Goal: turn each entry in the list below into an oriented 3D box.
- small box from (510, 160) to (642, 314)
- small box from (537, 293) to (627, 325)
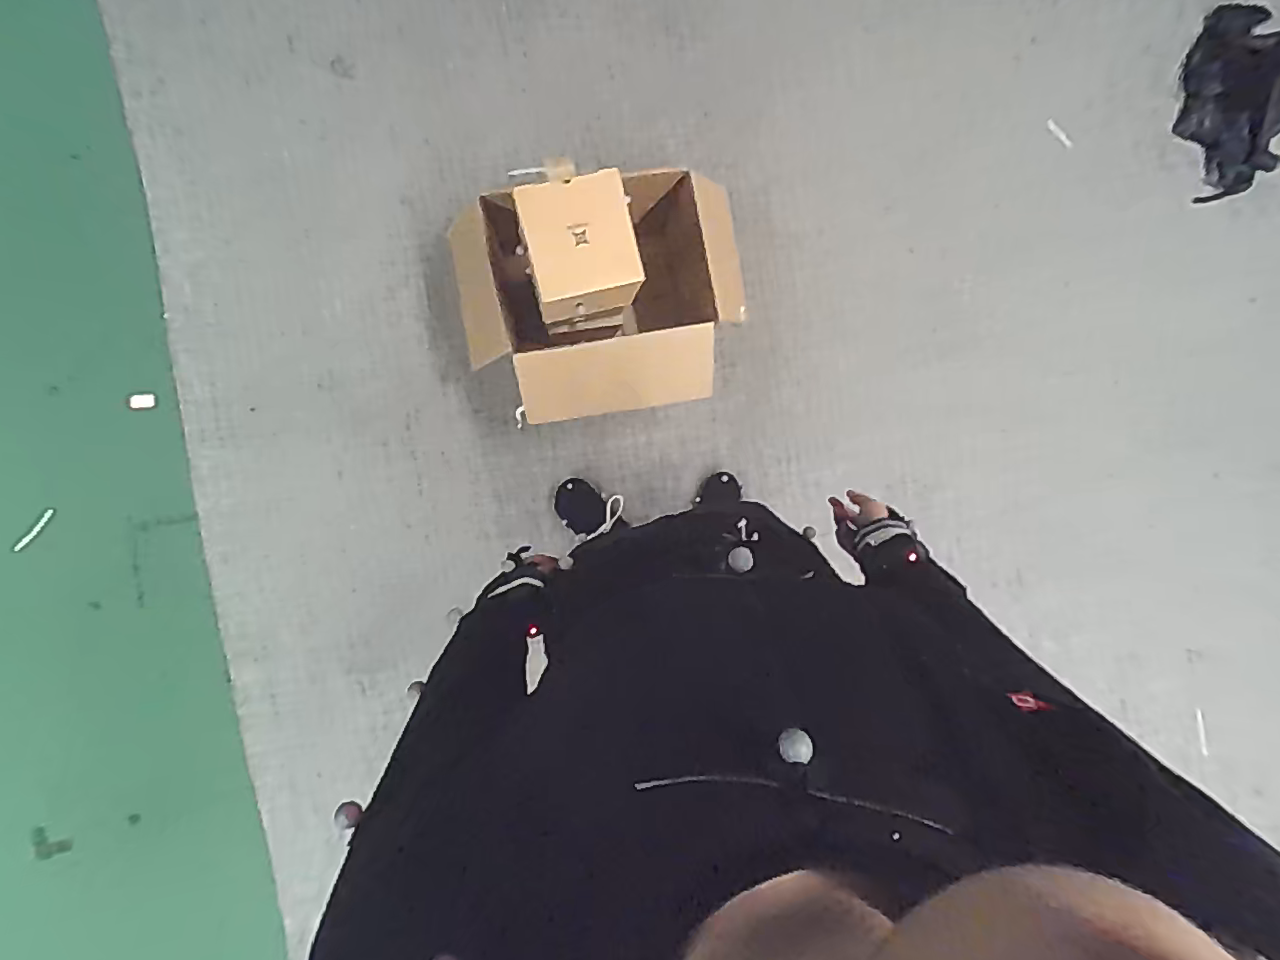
[{"bbox_3d":[-0.103,-0.385,0.893,0.168,0.176,0.179,-16,96,-6],"label":"small box"},{"bbox_3d":[-0.126,-0.417,1.051,0.168,0.176,0.179,-14,98,-7],"label":"small box"}]
